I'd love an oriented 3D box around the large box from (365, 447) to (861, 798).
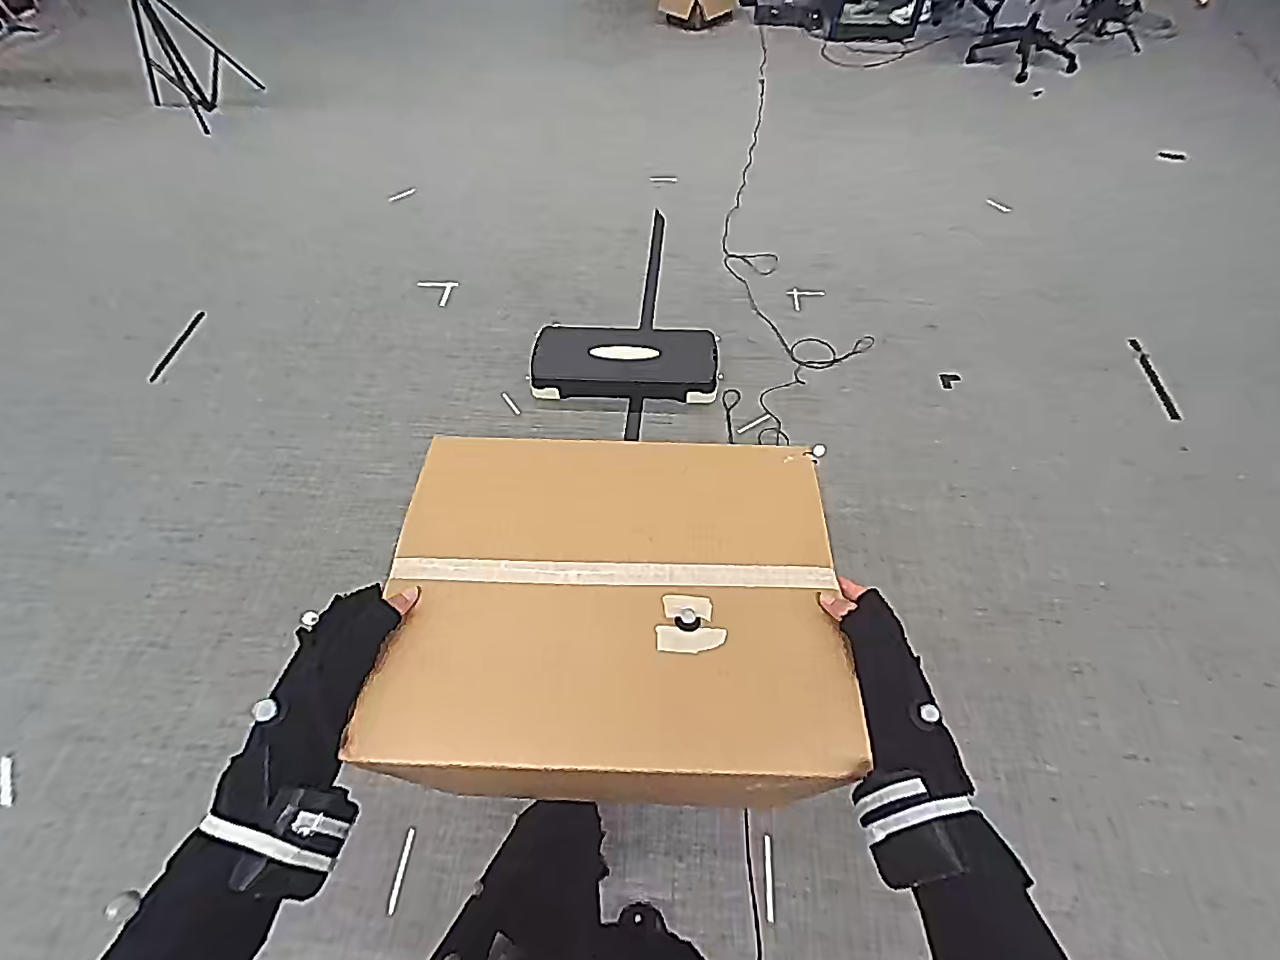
[{"bbox_3d":[-0.022,0.178,0.632,0.408,0.320,0.320,2,55,0],"label":"large box"}]
